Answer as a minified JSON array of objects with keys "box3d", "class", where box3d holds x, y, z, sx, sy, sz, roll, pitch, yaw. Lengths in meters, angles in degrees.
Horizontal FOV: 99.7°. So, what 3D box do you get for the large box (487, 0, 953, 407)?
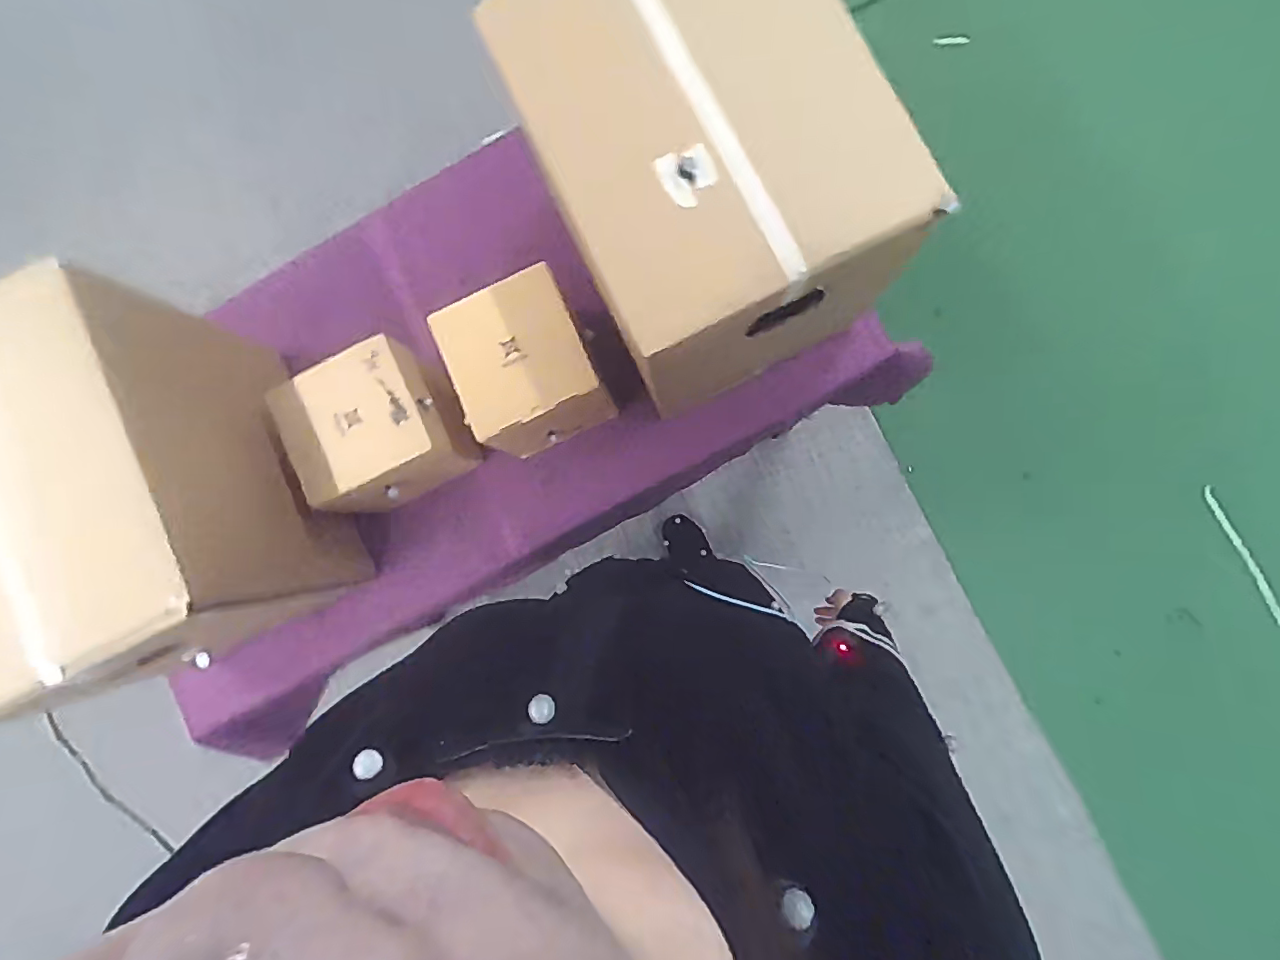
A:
[{"box3d":[0.075,-0.356,0.667,0.320,0.320,0.408,-26,85,3],"class":"large box"}]
